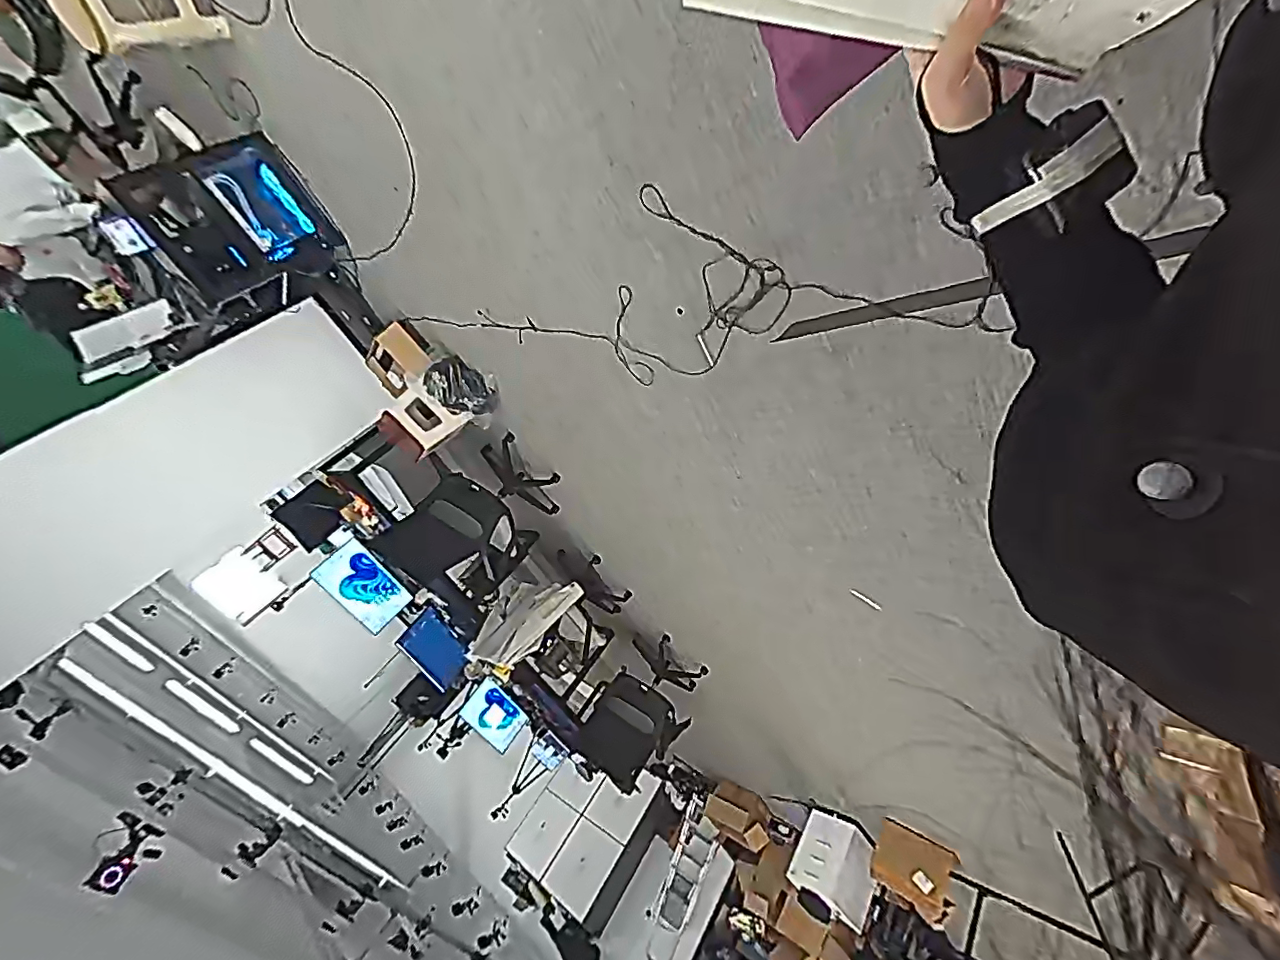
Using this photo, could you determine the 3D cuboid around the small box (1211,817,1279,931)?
[{"bbox_3d":[1.517,0.956,1.308,0.179,0.176,0.168,2,133,44],"label":"small box"}]
